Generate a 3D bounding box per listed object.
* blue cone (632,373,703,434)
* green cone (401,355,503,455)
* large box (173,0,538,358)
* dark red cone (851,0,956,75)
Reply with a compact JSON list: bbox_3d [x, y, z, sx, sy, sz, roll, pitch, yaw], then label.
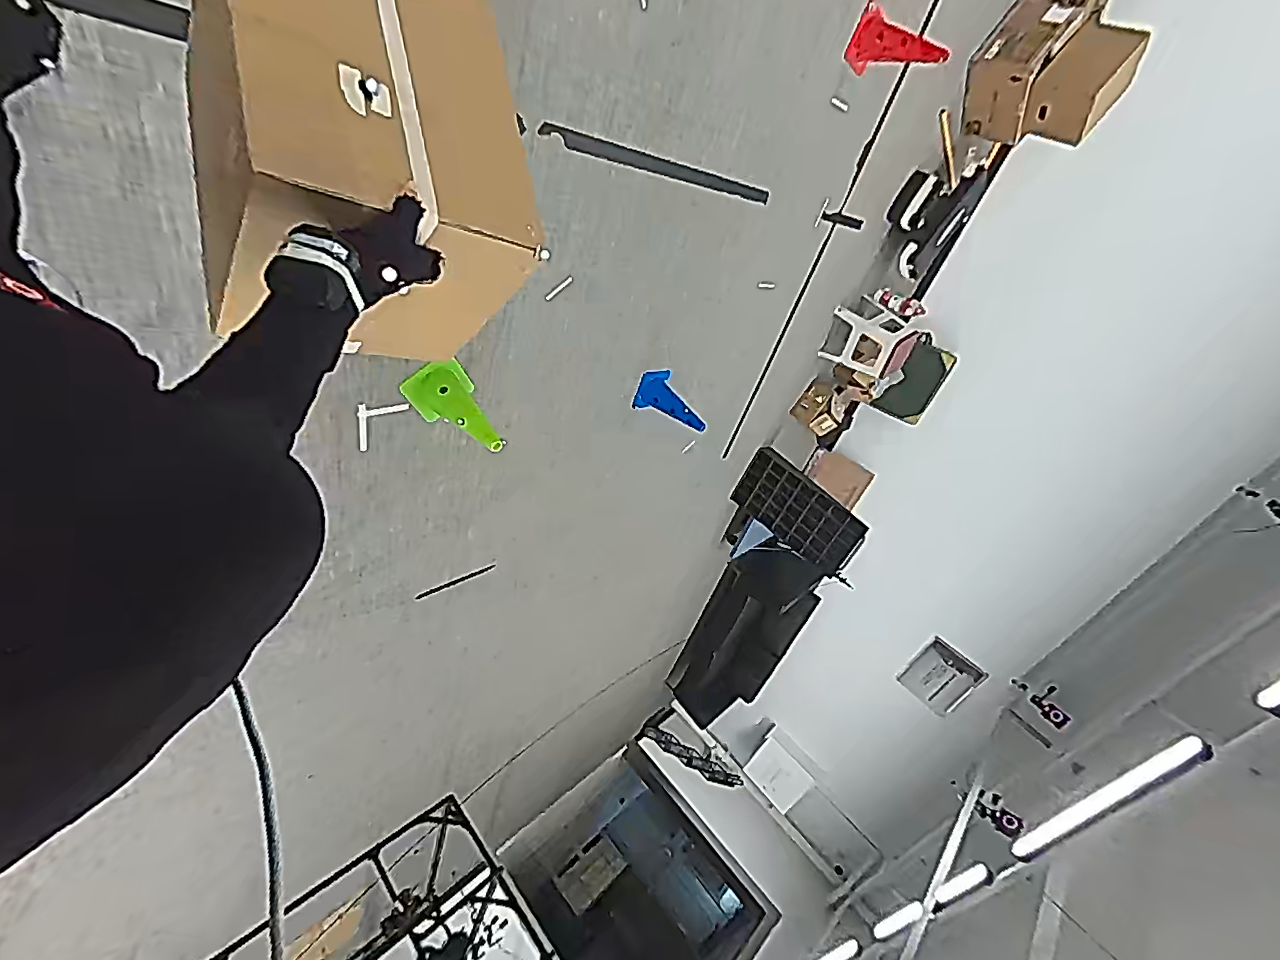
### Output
[{"bbox_3d":[0.156,-0.343,2.574,0.193,0.380,0.192,-15,138,-46],"label":"blue cone"},{"bbox_3d":[-0.551,-0.195,1.703,0.200,0.368,0.202,-42,153,-12],"label":"green cone"},{"bbox_3d":[-0.385,-0.422,0.716,0.320,0.408,0.320,-5,168,-44],"label":"large box"},{"bbox_3d":[1.037,-1.681,2.100,0.202,0.394,0.201,-13,136,-48],"label":"dark red cone"}]
